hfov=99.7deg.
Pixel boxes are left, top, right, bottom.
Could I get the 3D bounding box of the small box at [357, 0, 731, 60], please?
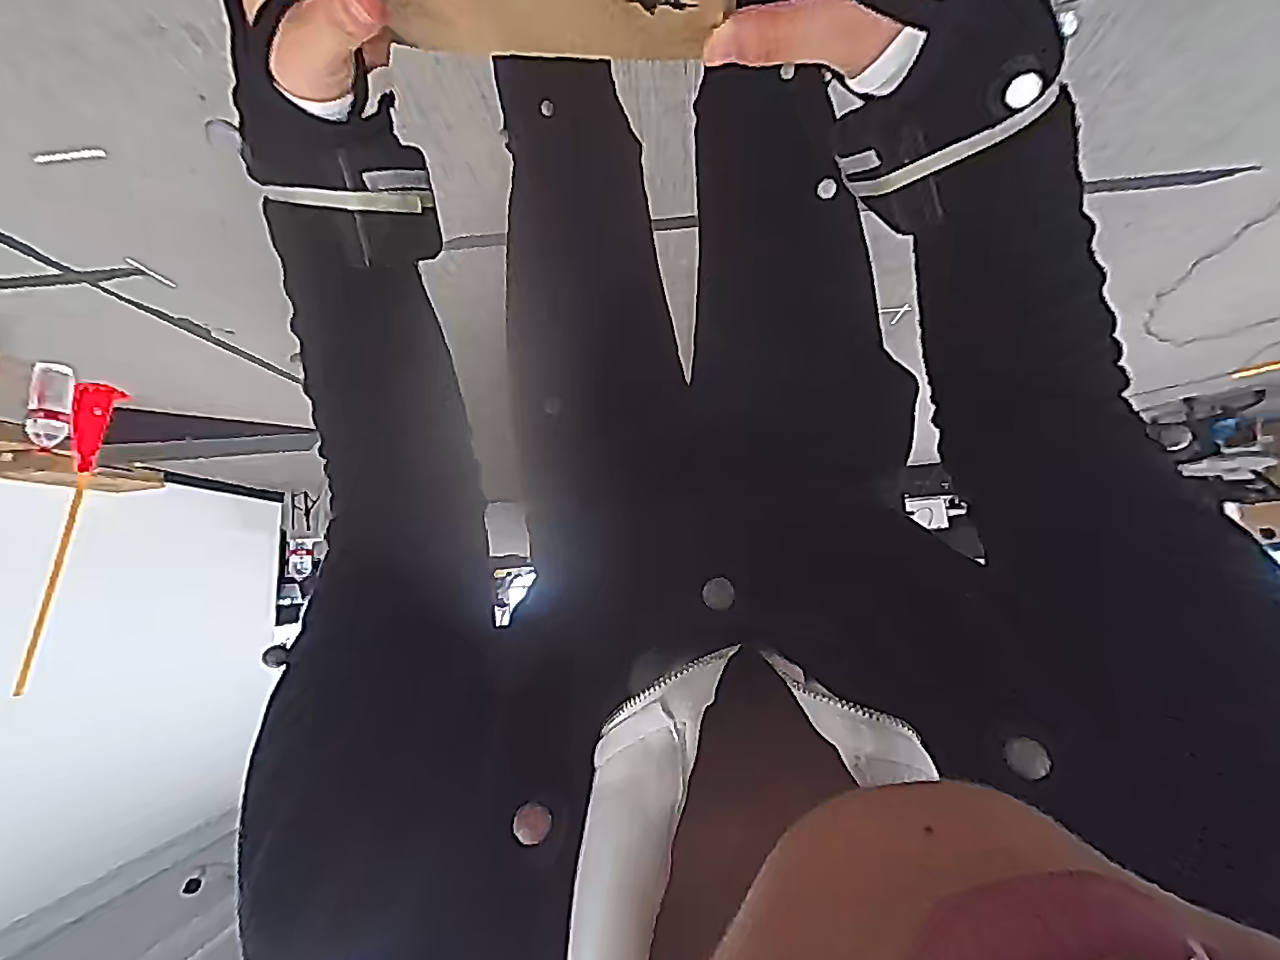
[{"bbox_3d":[-0.047,-0.263,0.154,0.179,0.176,0.168,12,-161,9],"label":"small box"}]
